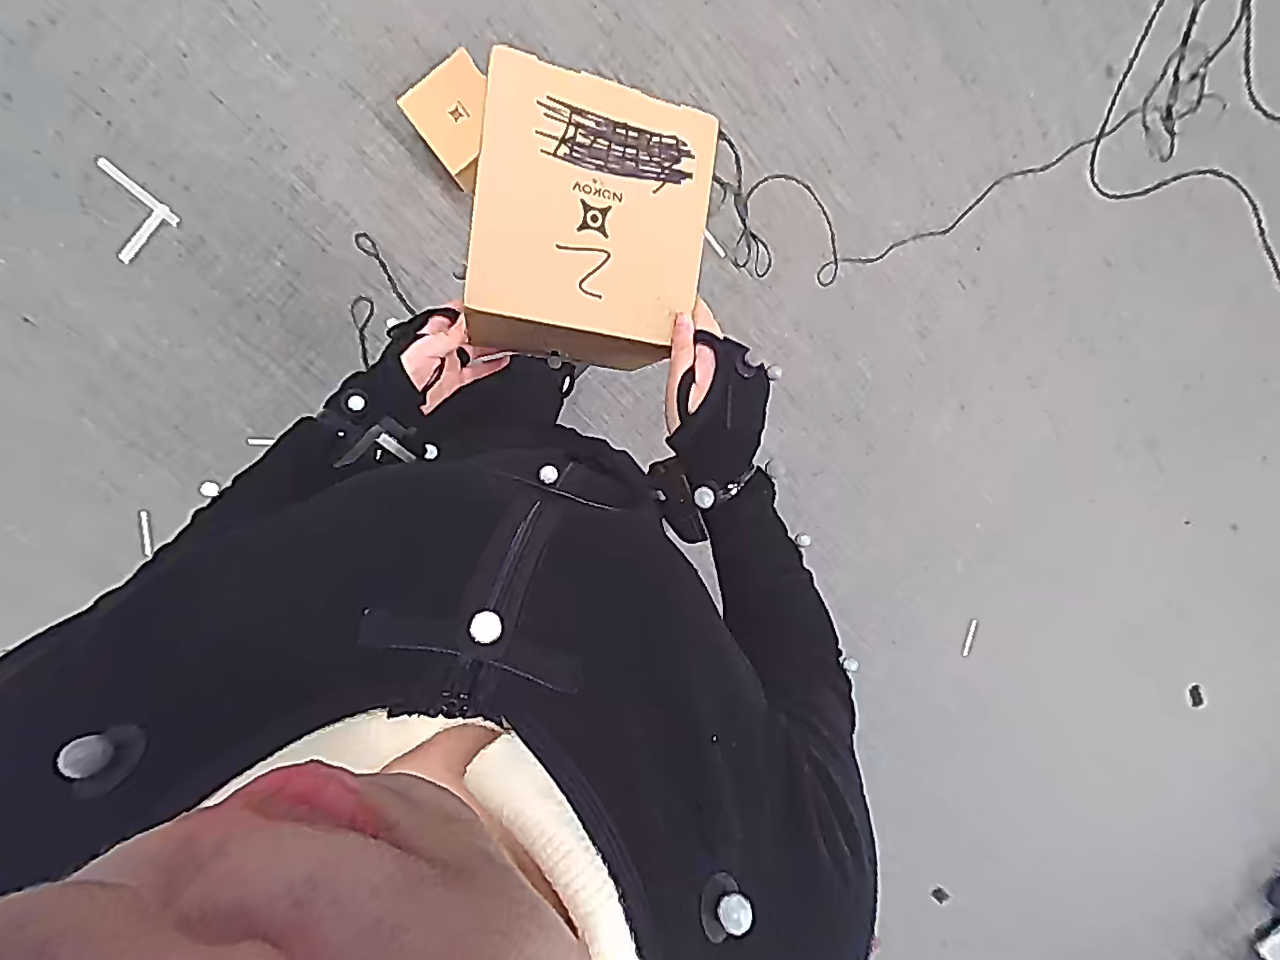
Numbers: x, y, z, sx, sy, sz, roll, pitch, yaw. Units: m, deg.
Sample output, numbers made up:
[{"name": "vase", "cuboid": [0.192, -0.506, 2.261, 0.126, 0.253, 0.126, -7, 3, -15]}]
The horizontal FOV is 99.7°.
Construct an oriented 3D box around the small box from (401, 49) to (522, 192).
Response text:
[{"name": "small box", "cuboid": [-0.373, -0.761, 1.170, 0.179, 0.176, 0.168, -38, 107, 2]}]
